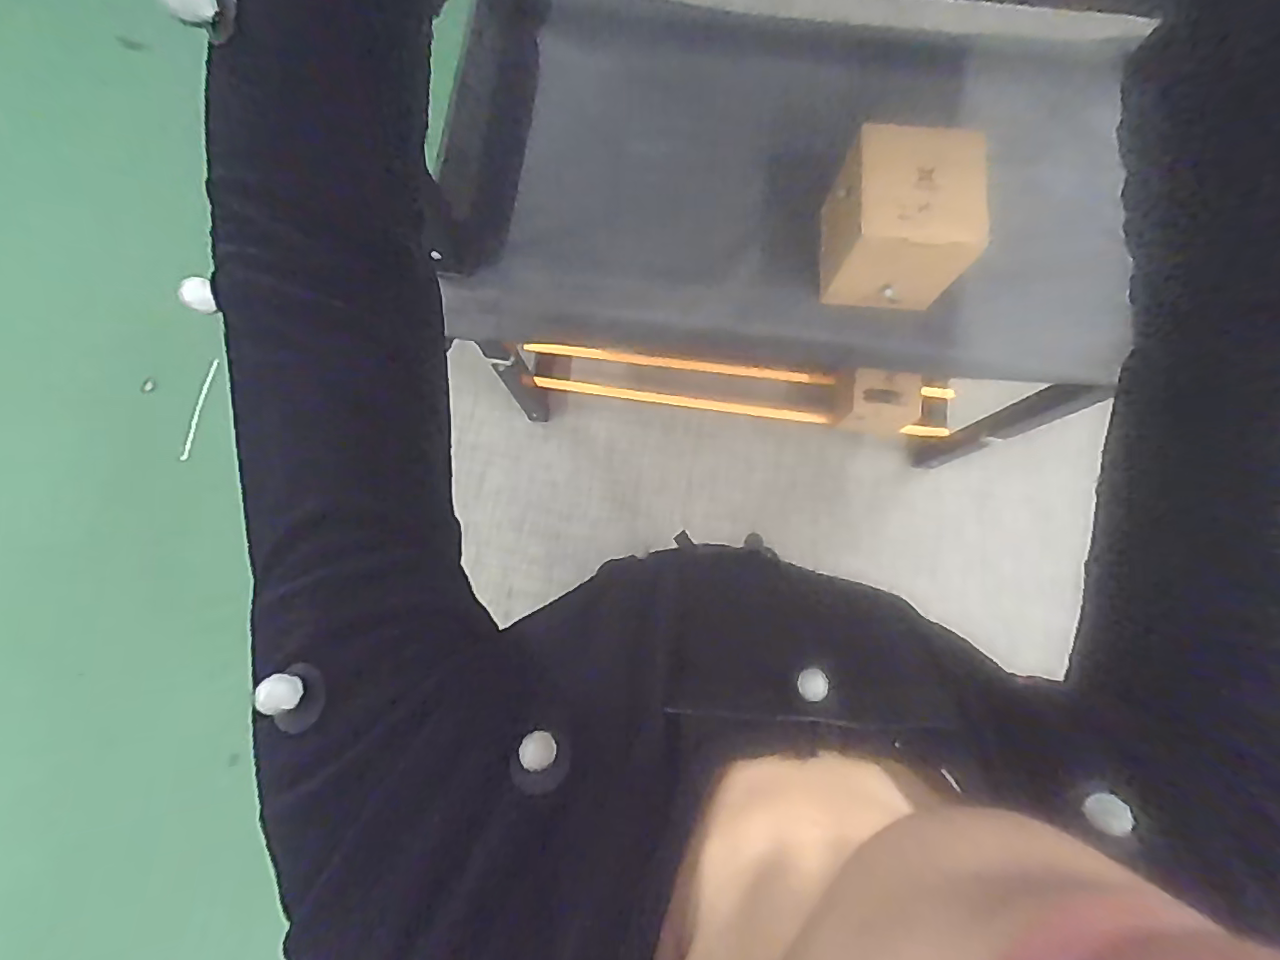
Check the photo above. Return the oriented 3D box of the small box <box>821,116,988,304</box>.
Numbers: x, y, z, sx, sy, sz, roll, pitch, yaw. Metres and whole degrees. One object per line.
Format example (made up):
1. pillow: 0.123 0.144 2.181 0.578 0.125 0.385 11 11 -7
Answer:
1. small box: 0.373 -0.386 0.792 0.168 0.176 0.179 5 78 1
